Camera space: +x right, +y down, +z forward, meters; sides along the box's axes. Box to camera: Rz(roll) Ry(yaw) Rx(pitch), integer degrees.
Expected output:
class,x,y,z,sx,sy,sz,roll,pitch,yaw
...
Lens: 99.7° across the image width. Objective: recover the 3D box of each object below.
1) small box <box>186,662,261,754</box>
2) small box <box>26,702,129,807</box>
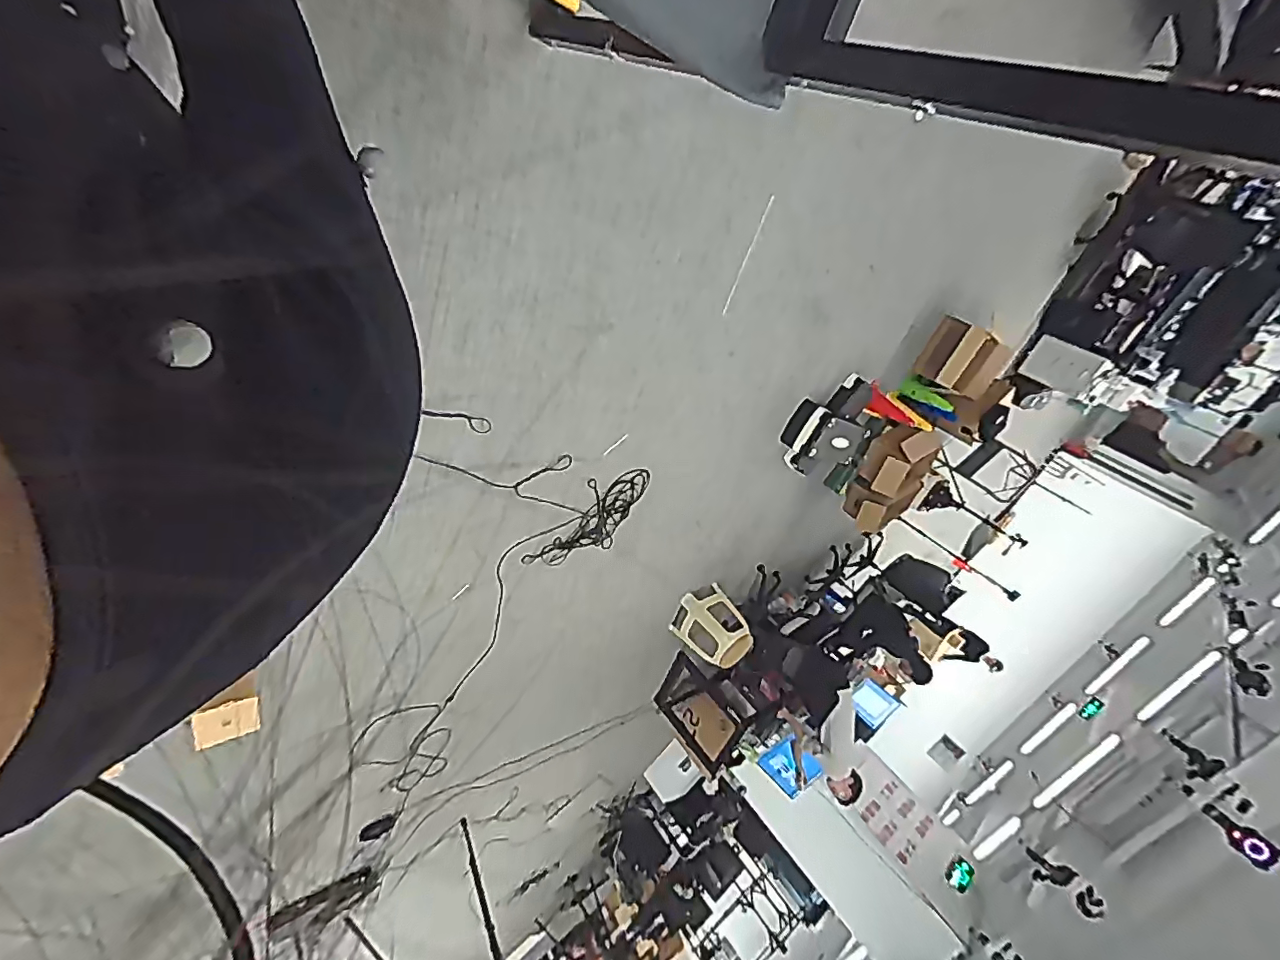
class,x,y,z,sx,sy,sz,roll,pitch,yaw
small box,-1.309,0.710,1.701,0.168,0.176,0.179,-9,129,-42
small box,-1.542,0.740,1.487,0.168,0.176,0.179,-13,132,-38
